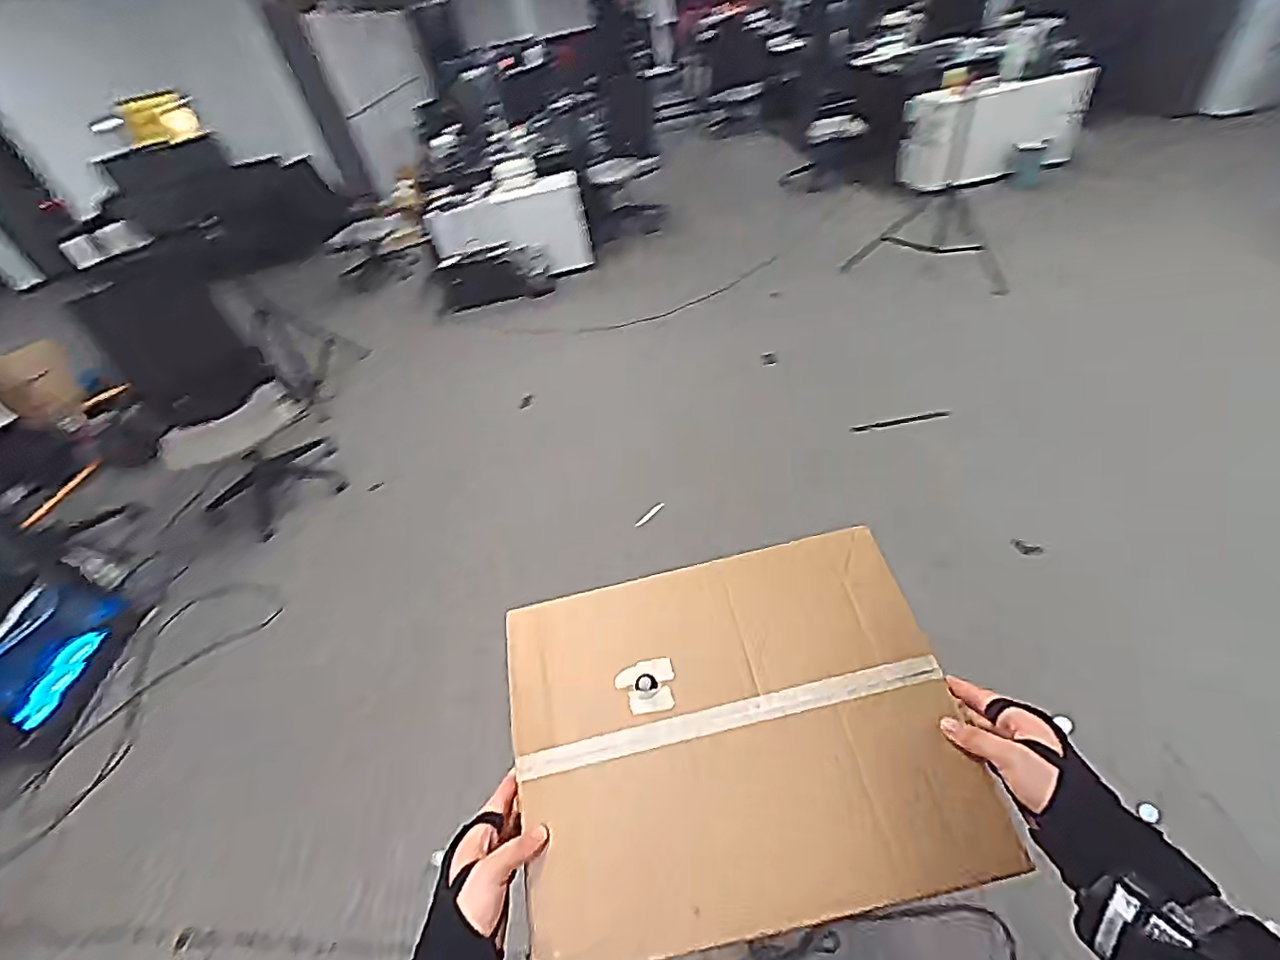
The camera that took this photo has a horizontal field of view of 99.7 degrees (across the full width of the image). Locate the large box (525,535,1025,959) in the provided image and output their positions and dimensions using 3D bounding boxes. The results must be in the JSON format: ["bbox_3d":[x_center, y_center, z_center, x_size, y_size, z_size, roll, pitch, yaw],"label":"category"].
[{"bbox_3d":[0.116,0.309,0.642,0.408,0.320,0.320,-14,56,1],"label":"large box"}]
